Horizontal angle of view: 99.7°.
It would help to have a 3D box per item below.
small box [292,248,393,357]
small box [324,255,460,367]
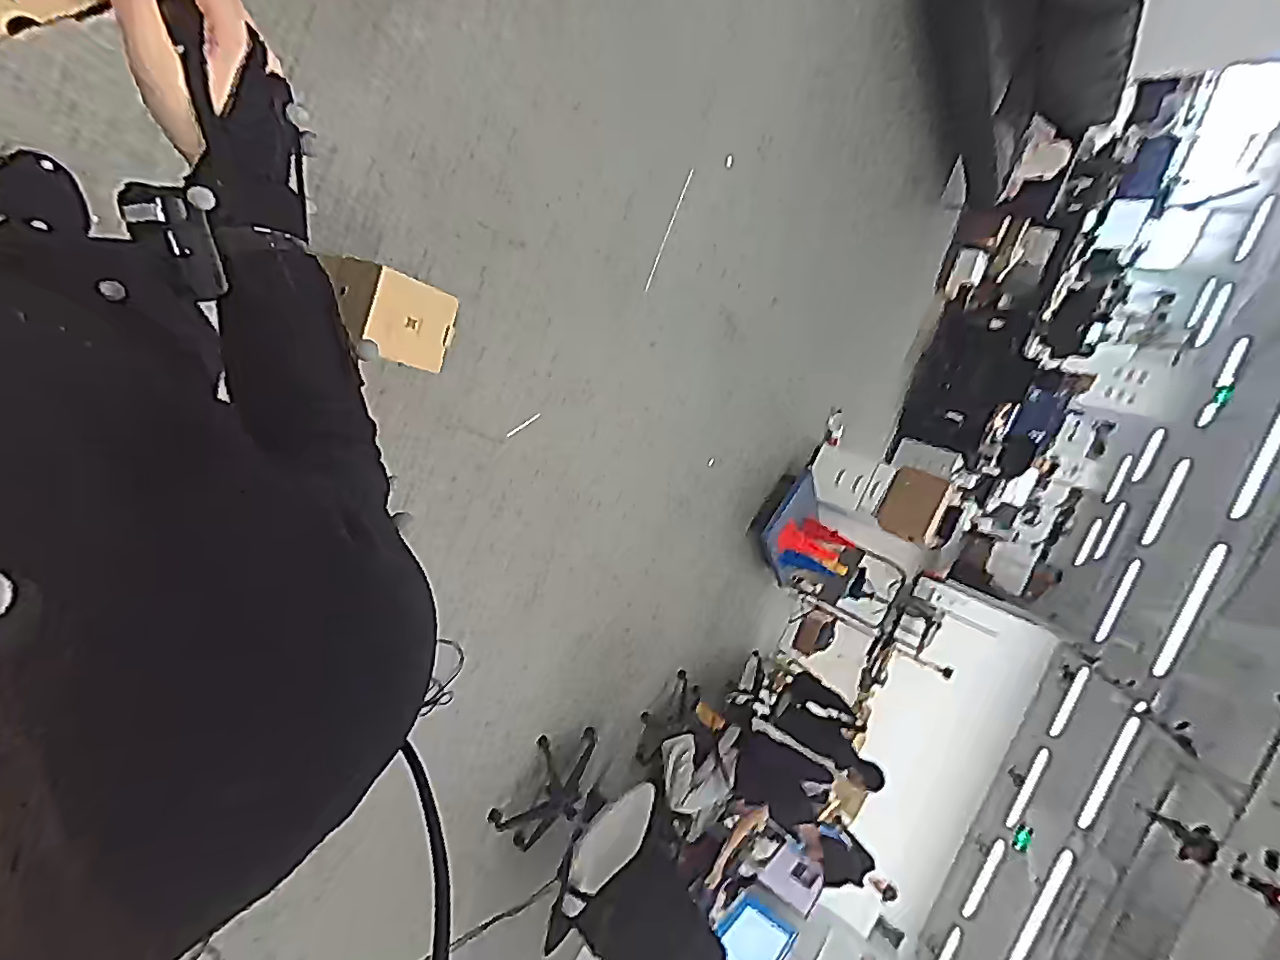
[{"bbox_3d":[-0.642,-0.397,1.204,0.168,0.176,0.179,9,103,-55],"label":"small box"},{"bbox_3d":[-0.512,-0.349,1.115,0.179,0.176,0.168,8,103,-54],"label":"small box"}]
